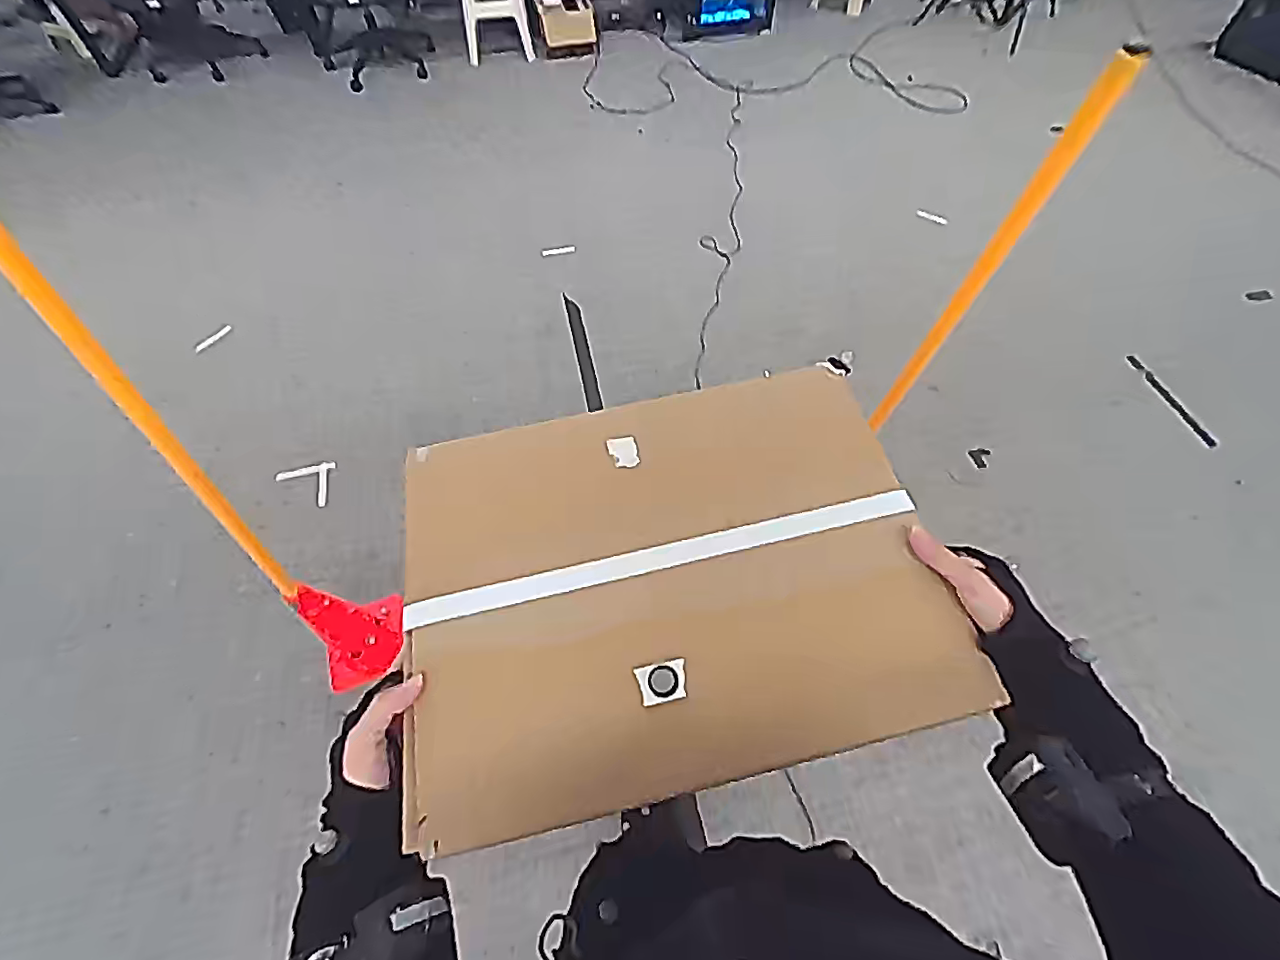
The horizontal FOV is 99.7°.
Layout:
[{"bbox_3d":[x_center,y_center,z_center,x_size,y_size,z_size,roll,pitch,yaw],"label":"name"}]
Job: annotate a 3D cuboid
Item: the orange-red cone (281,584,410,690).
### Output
[{"bbox_3d":[-0.694,0.320,1.223,0.199,0.360,0.198,-20,59,-10],"label":"orange-red cone"}]
